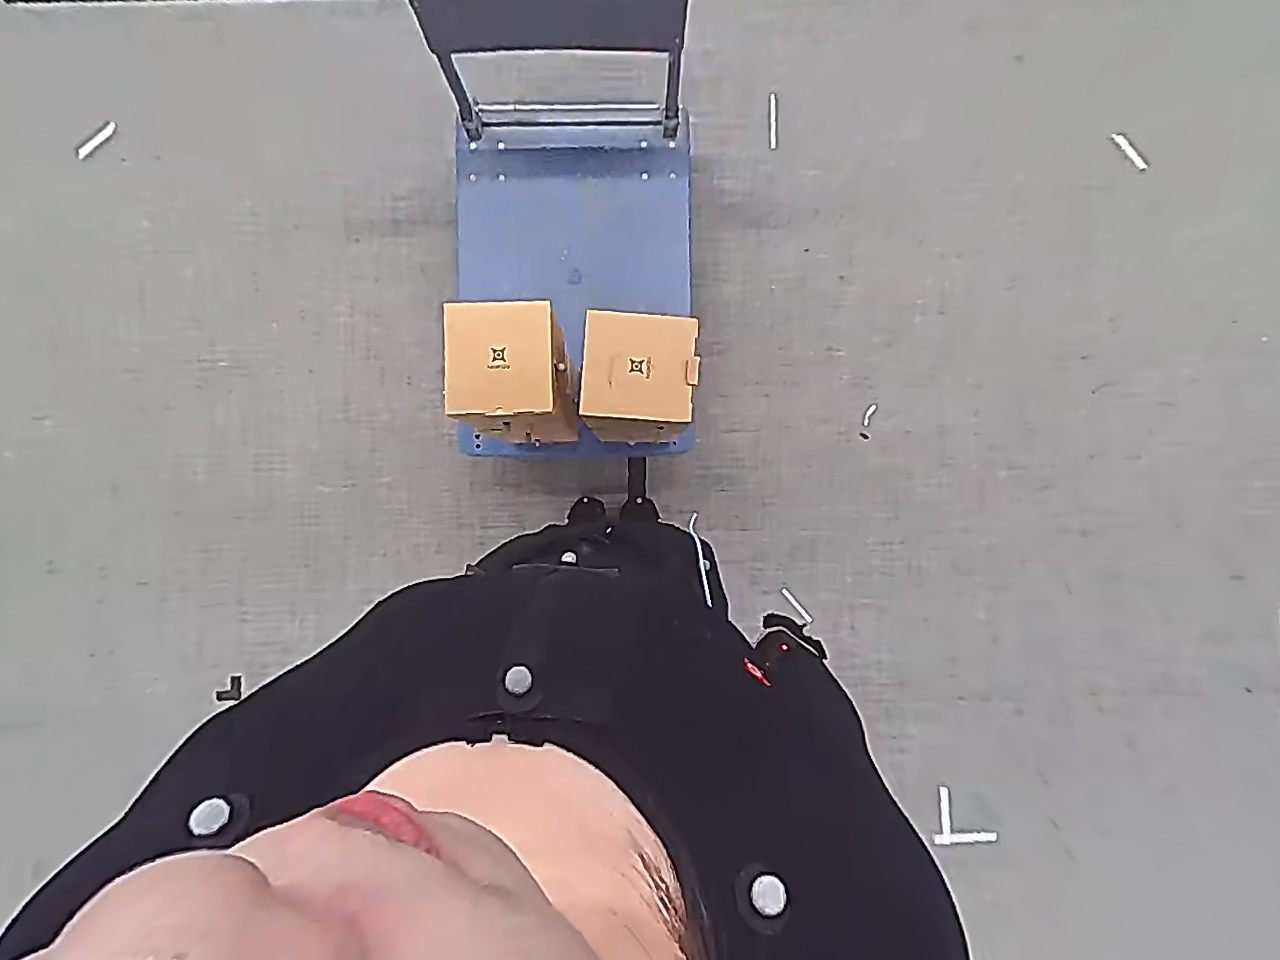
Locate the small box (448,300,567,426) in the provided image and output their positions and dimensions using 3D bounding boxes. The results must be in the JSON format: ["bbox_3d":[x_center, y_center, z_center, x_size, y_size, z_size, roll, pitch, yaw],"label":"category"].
[{"bbox_3d":[-0.216,-0.189,0.911,0.168,0.176,0.179,-2,90,-1],"label":"small box"}]

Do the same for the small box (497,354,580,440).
[{"bbox_3d":[-0.229,-0.183,1.239,0.168,0.176,0.179,-2,89,-2],"label":"small box"}]

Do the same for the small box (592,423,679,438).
[{"bbox_3d":[-0.007,-0.180,1.078,0.168,0.176,0.179,1,90,-1],"label":"small box"}]

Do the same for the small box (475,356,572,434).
[{"bbox_3d":[-0.228,-0.184,1.074,0.168,0.176,0.179,-4,90,-1],"label":"small box"}]

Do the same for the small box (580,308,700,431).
[{"bbox_3d":[0.000,-0.177,0.915,0.179,0.176,0.168,5,89,0],"label":"small box"}]
